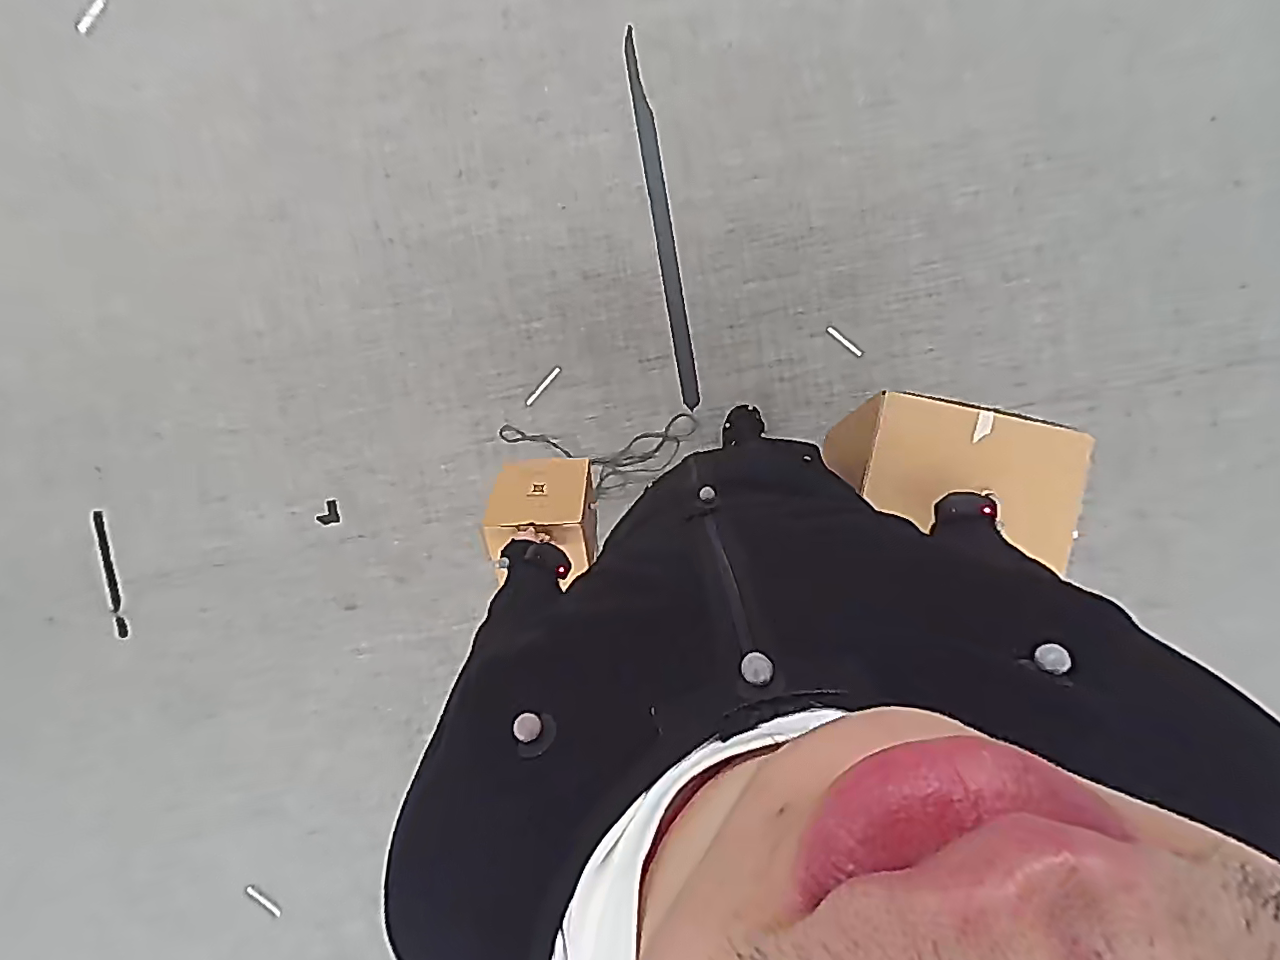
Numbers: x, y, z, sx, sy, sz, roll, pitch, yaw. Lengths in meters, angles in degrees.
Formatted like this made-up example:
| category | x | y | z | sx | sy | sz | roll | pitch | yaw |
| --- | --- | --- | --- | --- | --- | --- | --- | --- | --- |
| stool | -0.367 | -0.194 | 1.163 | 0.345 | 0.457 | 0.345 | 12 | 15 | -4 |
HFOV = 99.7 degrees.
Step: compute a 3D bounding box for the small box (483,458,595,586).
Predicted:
| category | x | y | z | sx | sy | sz | roll | pitch | yaw |
| --- | --- | --- | --- | --- | --- | --- | --- | --- | --- |
| small box | -0.173 | 0.081 | 0.992 | 0.168 | 0.179 | 0.176 | -2 | 131 | 1 |
